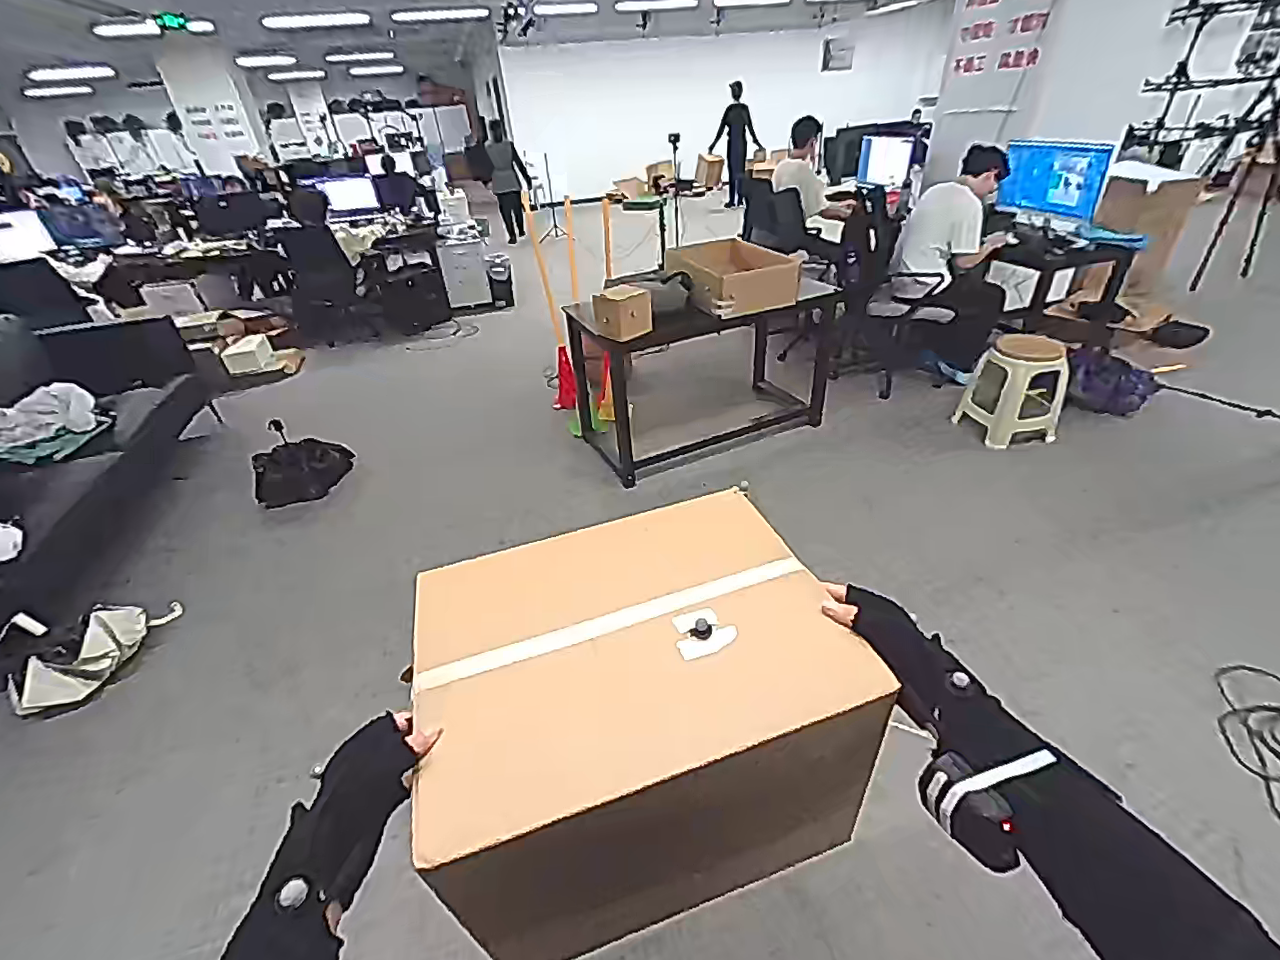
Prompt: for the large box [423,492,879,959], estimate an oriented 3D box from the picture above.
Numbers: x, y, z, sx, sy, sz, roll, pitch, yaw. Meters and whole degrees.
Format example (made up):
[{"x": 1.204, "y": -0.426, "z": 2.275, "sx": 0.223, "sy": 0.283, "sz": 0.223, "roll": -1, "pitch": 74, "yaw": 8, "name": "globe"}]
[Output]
[{"x": -0.007, "y": 0.267, "z": 0.639, "sx": 0.408, "sy": 0.320, "sz": 0.320, "roll": -15, "pitch": 37, "yaw": -12, "name": "large box"}]
